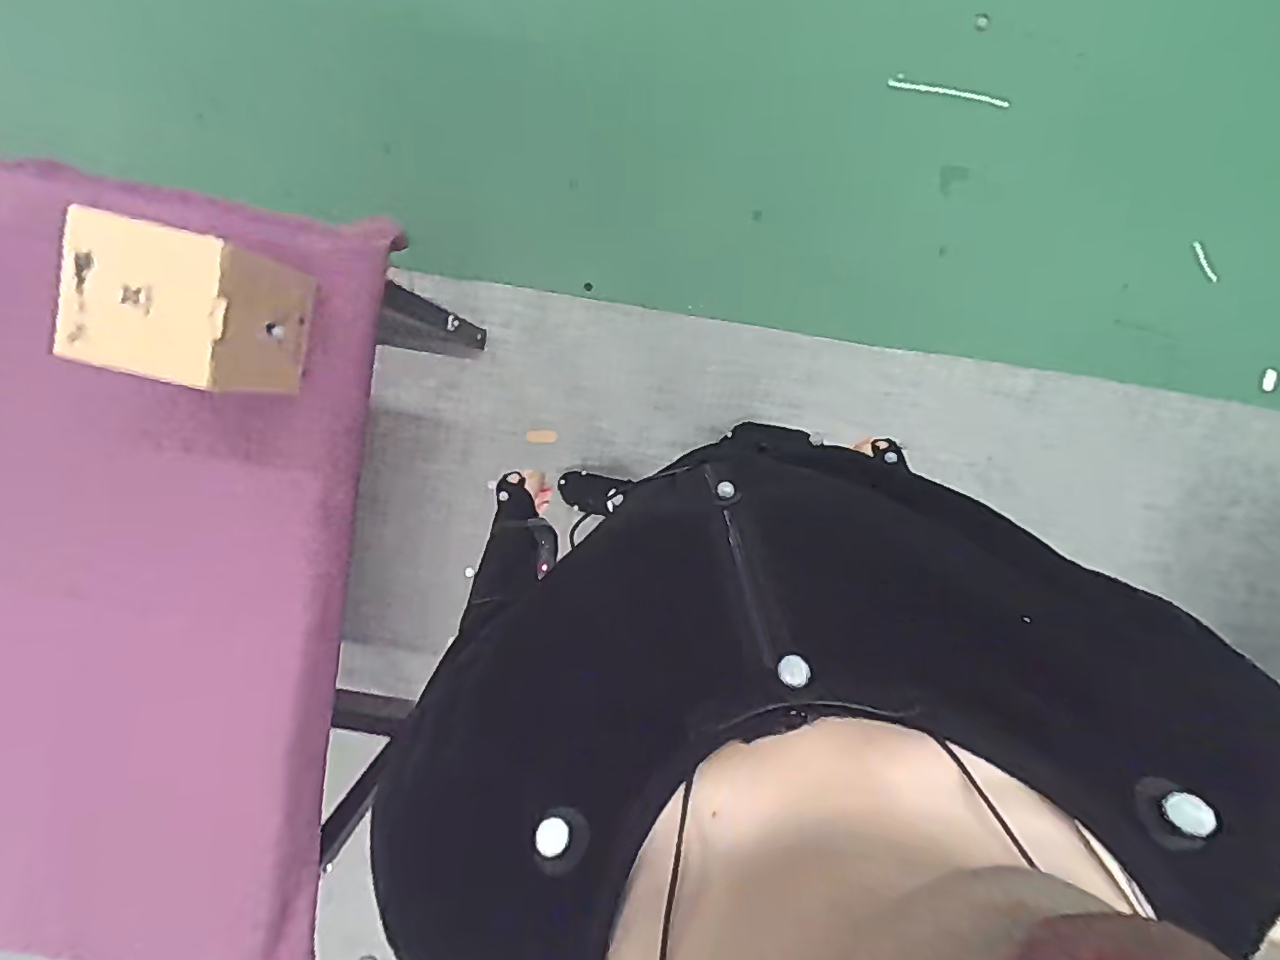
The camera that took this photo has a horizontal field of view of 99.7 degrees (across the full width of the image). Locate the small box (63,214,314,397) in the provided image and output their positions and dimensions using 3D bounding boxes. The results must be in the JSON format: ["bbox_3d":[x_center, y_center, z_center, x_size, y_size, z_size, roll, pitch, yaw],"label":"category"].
[{"bbox_3d":[-0.551,-0.205,0.684,0.179,0.176,0.168,13,97,-2],"label":"small box"}]
